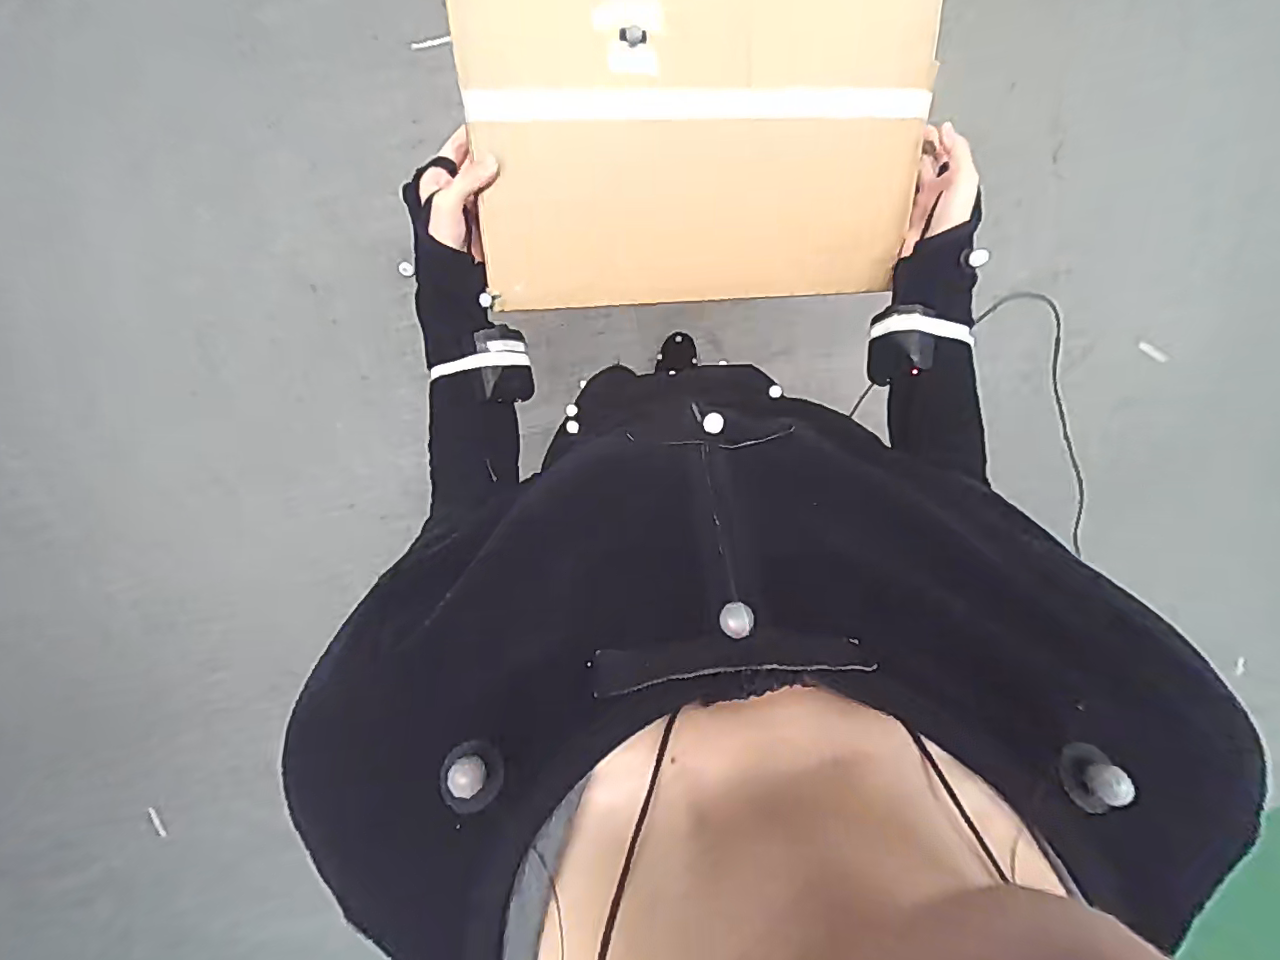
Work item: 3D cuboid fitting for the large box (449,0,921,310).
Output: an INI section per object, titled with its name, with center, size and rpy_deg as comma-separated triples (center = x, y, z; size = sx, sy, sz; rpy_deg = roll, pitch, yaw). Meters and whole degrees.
[large box]
center = 0.029, -0.384, 0.609
size = 0.408, 0.320, 0.320
rpy_deg = -6, 114, -8
